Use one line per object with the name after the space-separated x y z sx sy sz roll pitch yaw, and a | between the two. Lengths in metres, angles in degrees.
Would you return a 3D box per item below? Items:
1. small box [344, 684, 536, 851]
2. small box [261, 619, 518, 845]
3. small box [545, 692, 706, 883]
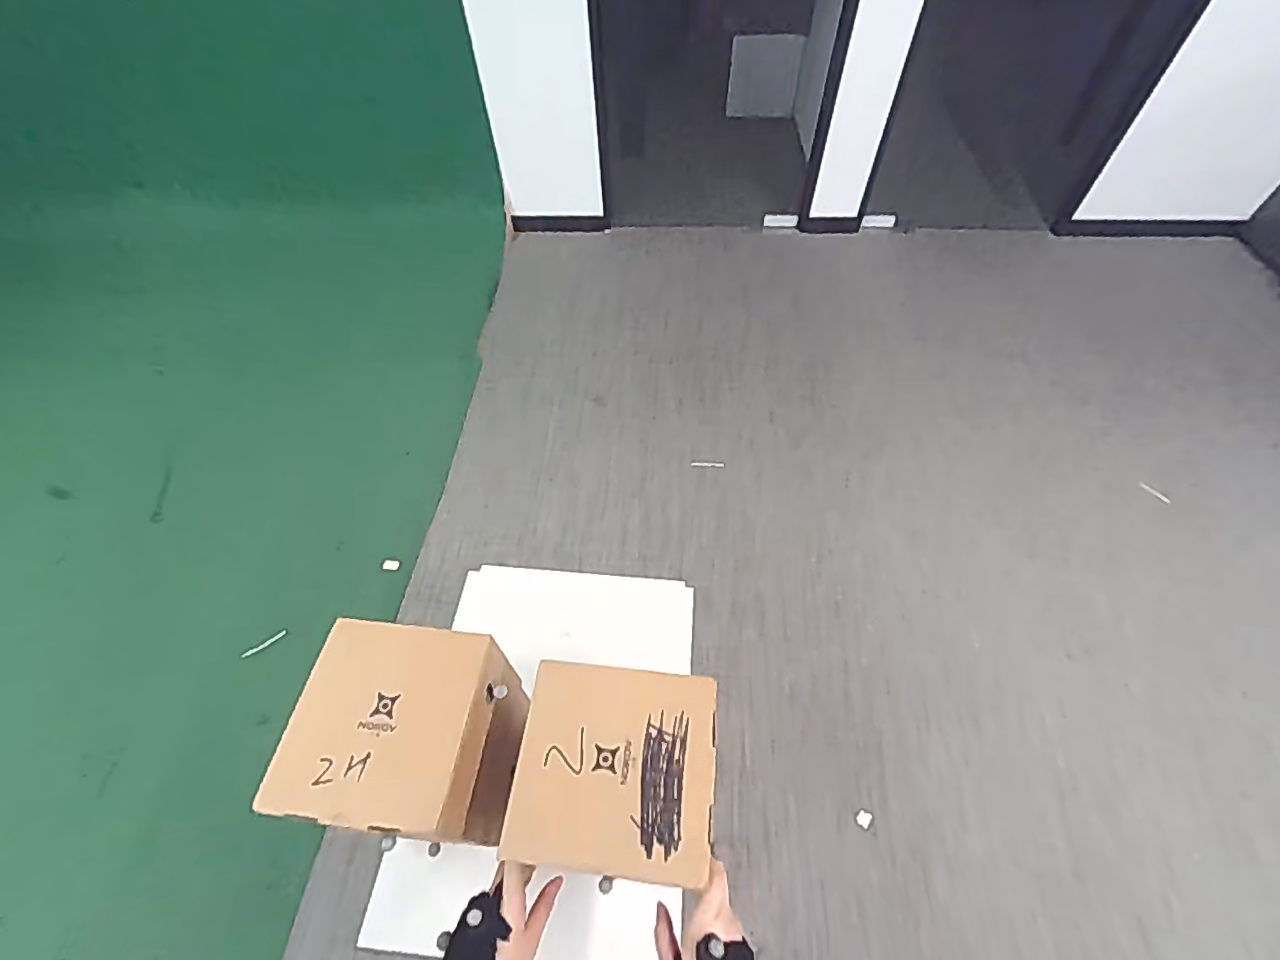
-0.239 0.368 0.703 0.168 0.176 0.179 4 55 4 | small box
-0.237 0.269 0.572 0.168 0.176 0.179 5 55 4 | small box
-0.009 0.388 0.682 0.168 0.176 0.179 4 55 6 | small box
